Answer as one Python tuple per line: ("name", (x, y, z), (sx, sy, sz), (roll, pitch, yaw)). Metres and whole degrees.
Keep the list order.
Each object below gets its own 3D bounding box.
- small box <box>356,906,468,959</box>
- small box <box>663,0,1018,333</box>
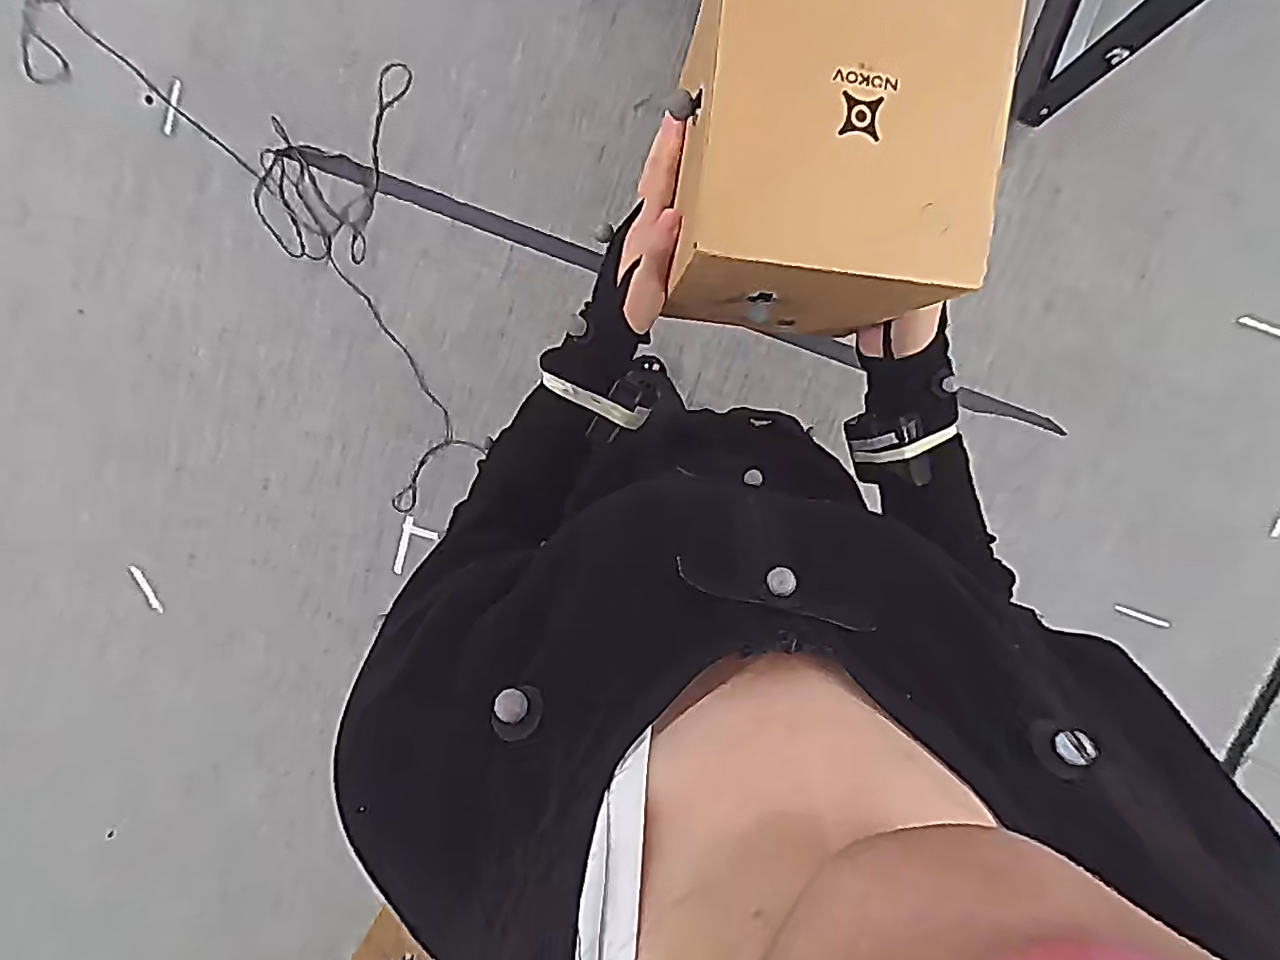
("small box", (-0.405, 0.878, 0.915), (0.168, 0.176, 0.179), (11, 97, 2))
("small box", (0.111, -0.208, 0.373), (0.168, 0.176, 0.179), (5, 94, -6))
